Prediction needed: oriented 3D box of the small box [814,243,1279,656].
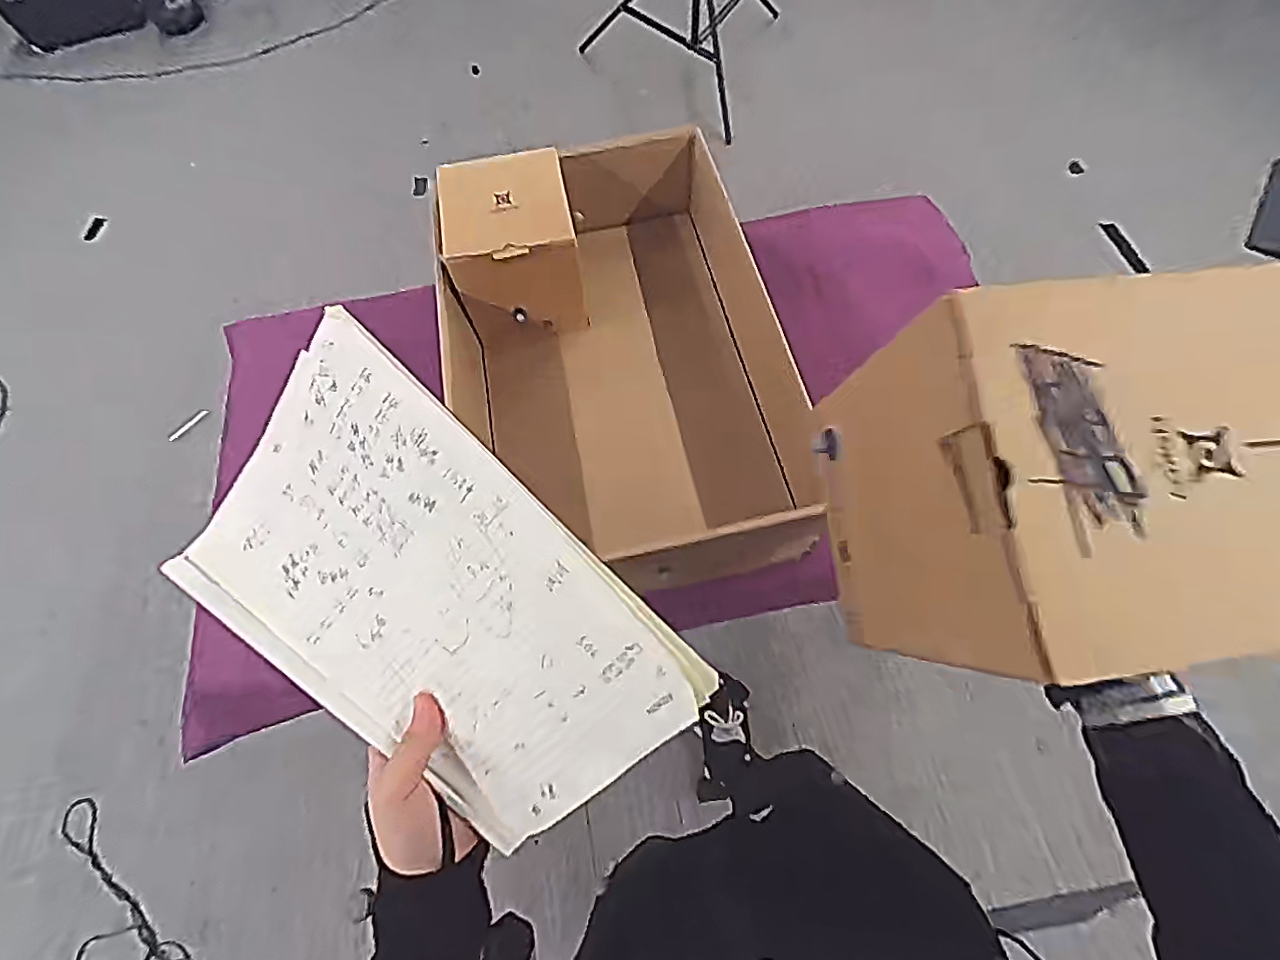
[{"bbox_3d":[0.215,-0.004,0.305,0.179,0.176,0.168,-7,80,-6],"label":"small box"}]
